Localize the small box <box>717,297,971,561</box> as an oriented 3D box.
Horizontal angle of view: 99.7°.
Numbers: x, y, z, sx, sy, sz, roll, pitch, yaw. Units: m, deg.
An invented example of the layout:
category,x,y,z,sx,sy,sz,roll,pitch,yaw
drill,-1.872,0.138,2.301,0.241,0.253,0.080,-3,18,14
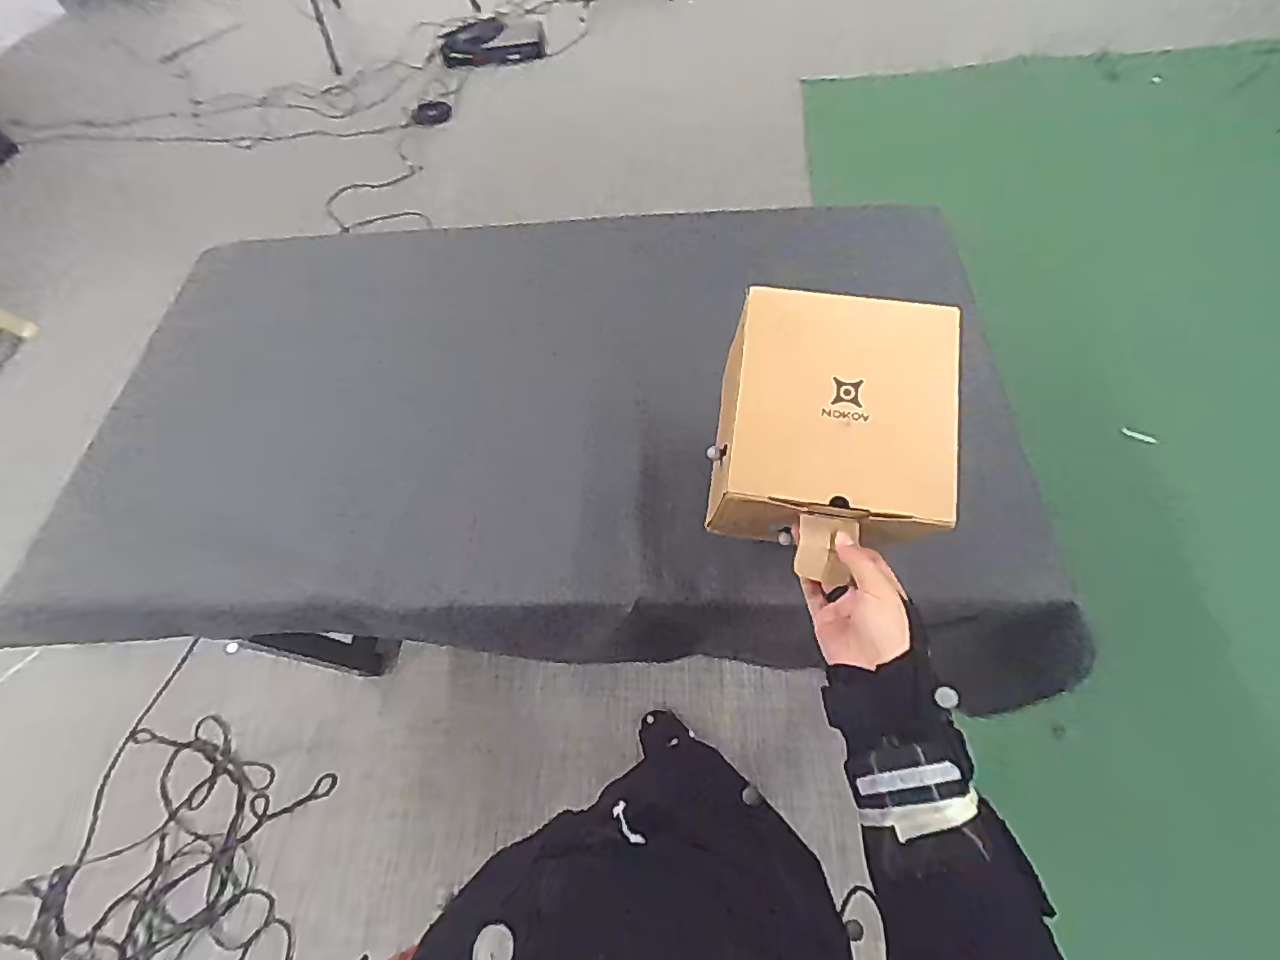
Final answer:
category,x,y,z,sx,sy,sz,roll,pitch,yaw
small box,0.165,-0.032,0.482,0.168,0.176,0.179,8,77,4
